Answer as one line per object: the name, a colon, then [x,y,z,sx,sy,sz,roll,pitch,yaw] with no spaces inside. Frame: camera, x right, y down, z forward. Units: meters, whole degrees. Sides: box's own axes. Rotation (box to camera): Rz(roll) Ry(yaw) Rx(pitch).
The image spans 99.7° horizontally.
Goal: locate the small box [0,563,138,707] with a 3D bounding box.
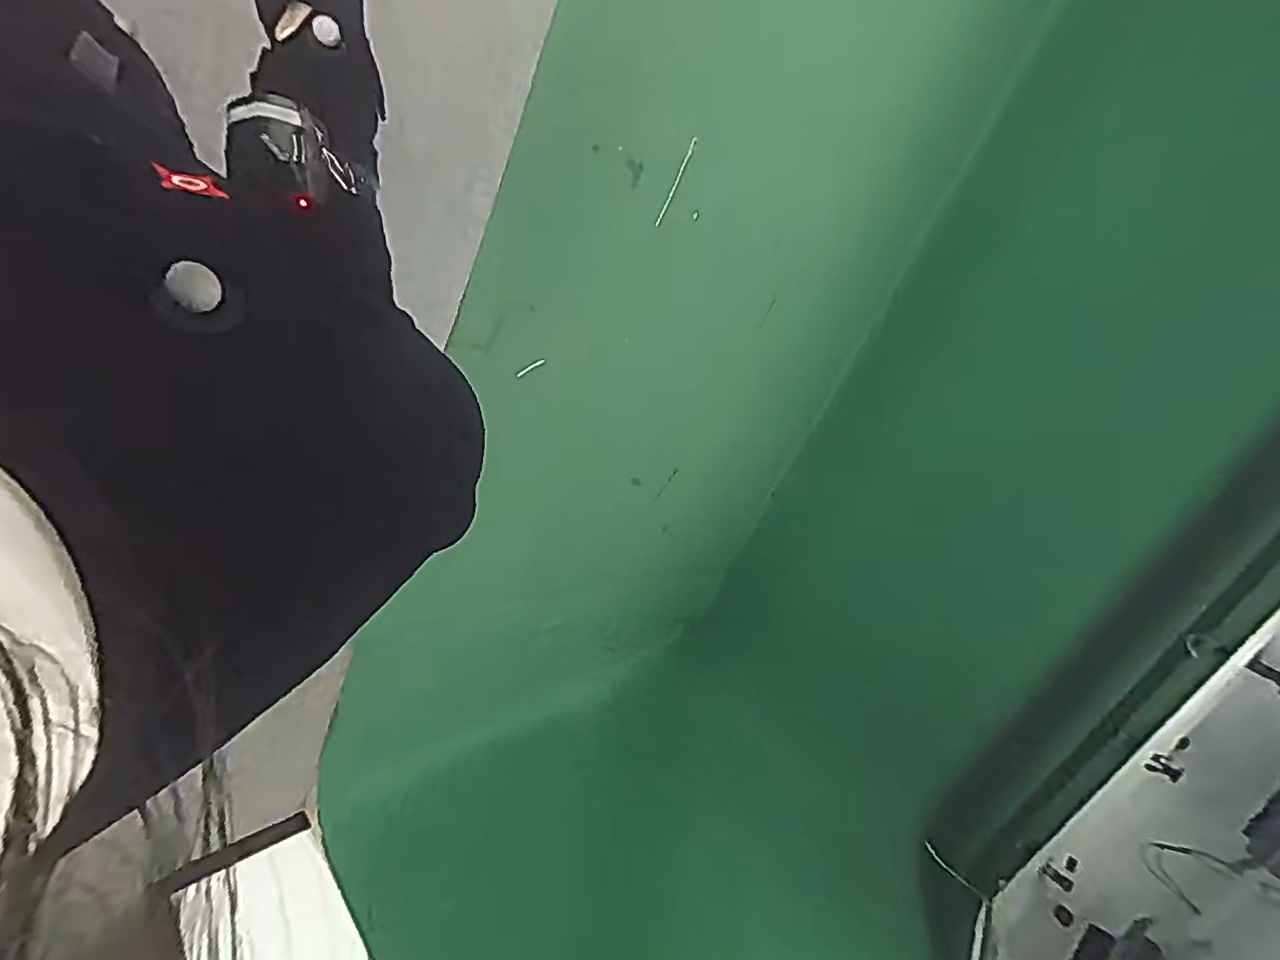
small box: [-1.002,0.252,0.914,0.179,0.176,0.168,9,109,-57]
